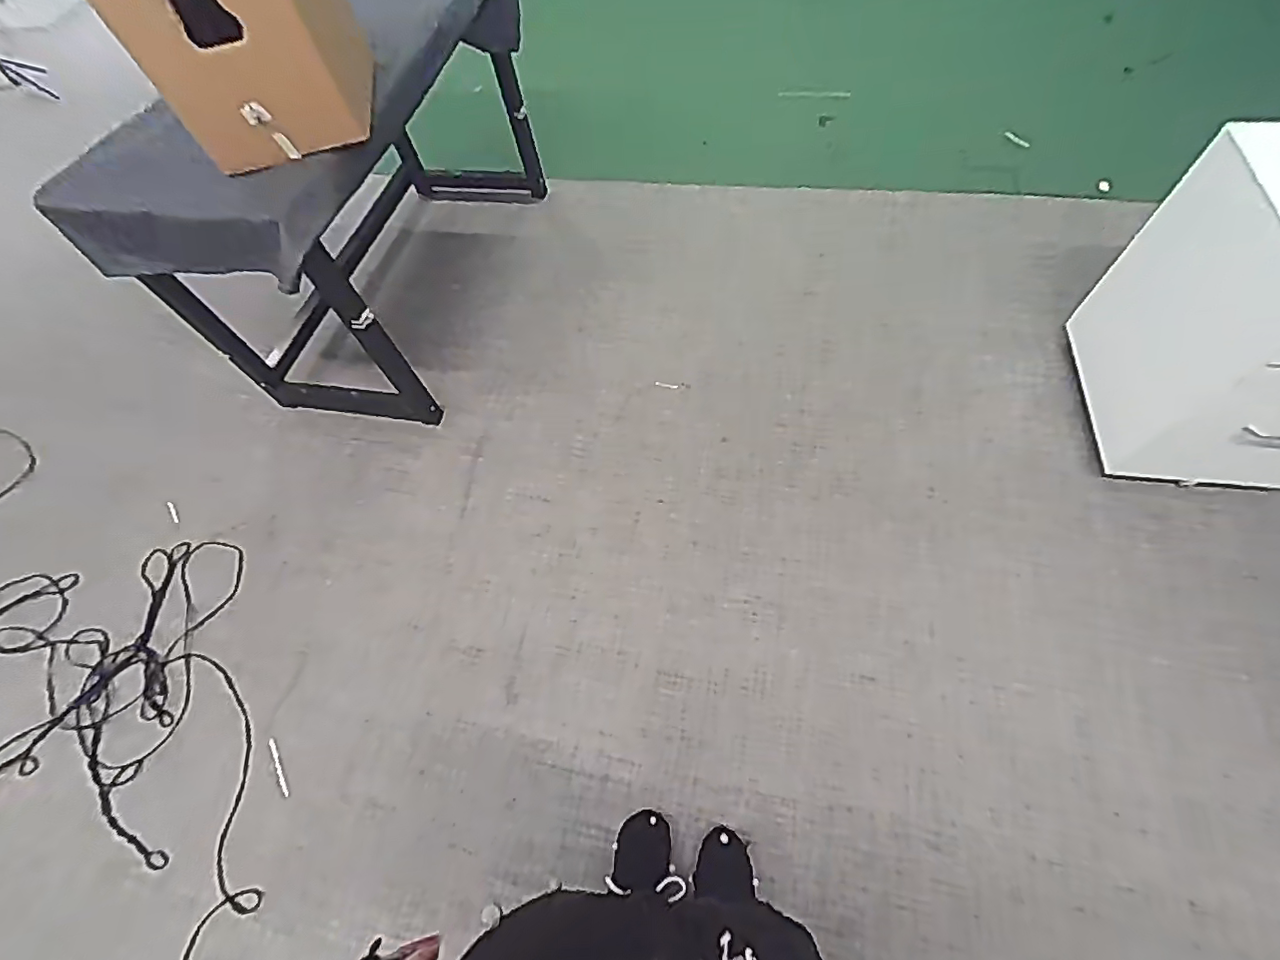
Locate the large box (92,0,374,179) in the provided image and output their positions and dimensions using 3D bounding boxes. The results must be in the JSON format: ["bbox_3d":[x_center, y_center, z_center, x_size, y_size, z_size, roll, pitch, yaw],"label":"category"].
[{"bbox_3d":[-0.768,-0.895,1.099,0.320,0.320,0.408,-15,58,-2],"label":"large box"}]
